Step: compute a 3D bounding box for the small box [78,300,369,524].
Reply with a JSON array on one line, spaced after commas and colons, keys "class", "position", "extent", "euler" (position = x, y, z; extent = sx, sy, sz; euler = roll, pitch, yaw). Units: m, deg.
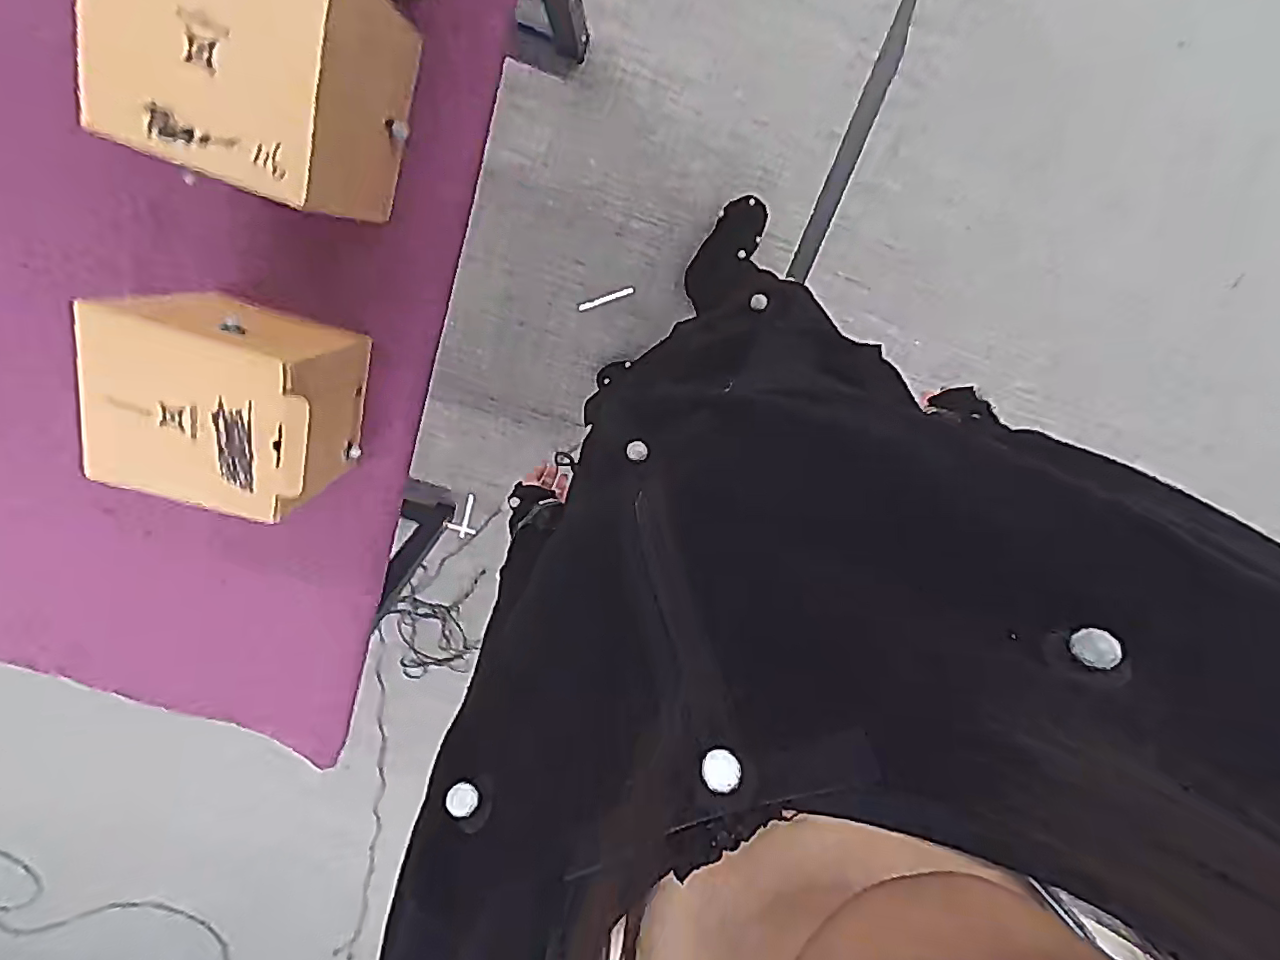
[{"class": "small box", "position": [-0.407, -0.081, 0.560], "extent": [0.179, 0.176, 0.168], "euler": [16, 110, -7]}]
